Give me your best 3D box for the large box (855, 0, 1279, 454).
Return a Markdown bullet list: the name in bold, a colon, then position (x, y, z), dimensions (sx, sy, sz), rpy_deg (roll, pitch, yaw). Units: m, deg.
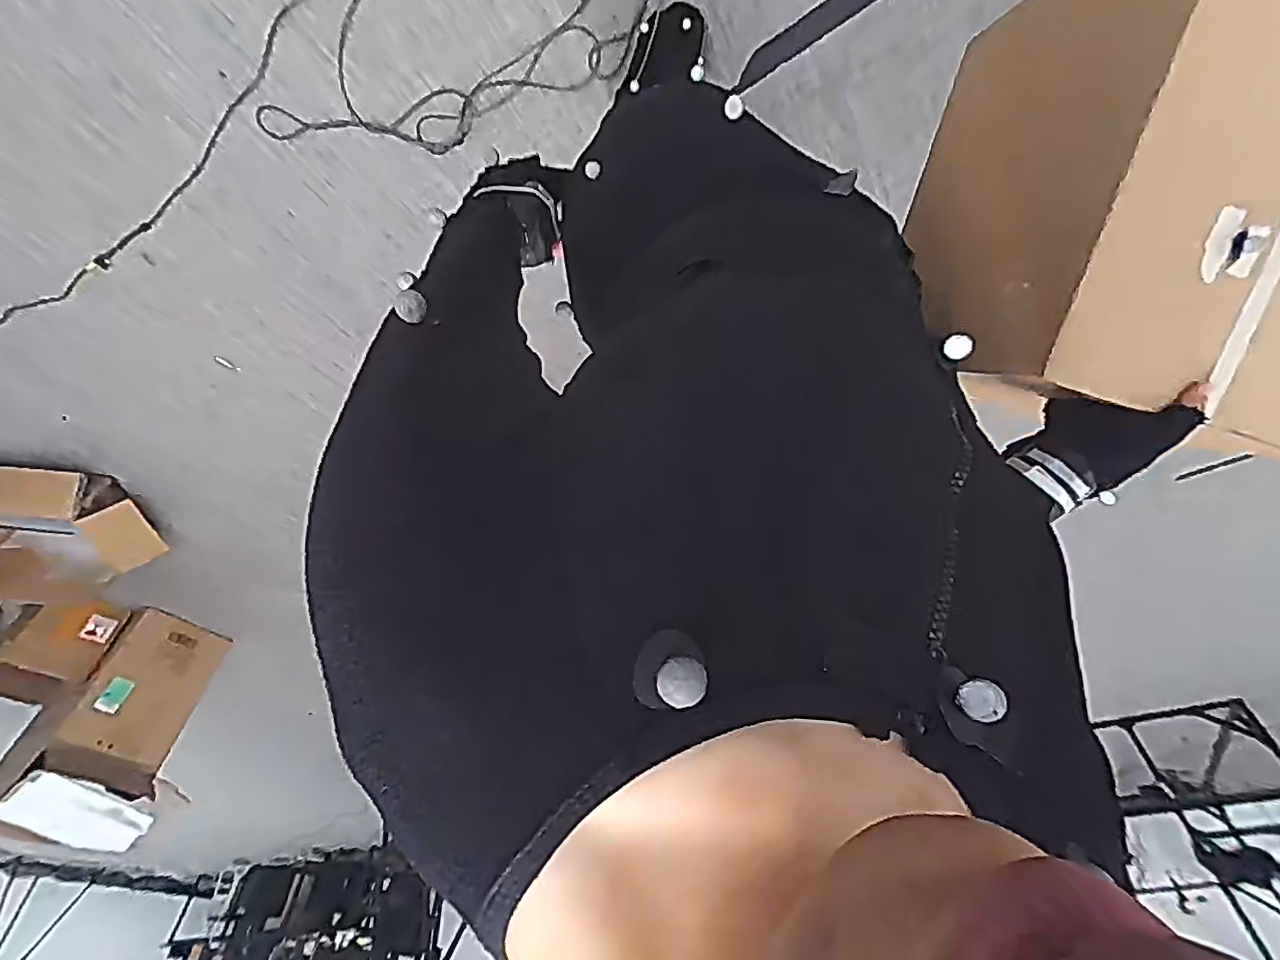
- **large box**: position (0.500, -0.280, 0.586), dimensions (0.320, 0.320, 0.408), rpy_deg (13, 103, -10)
